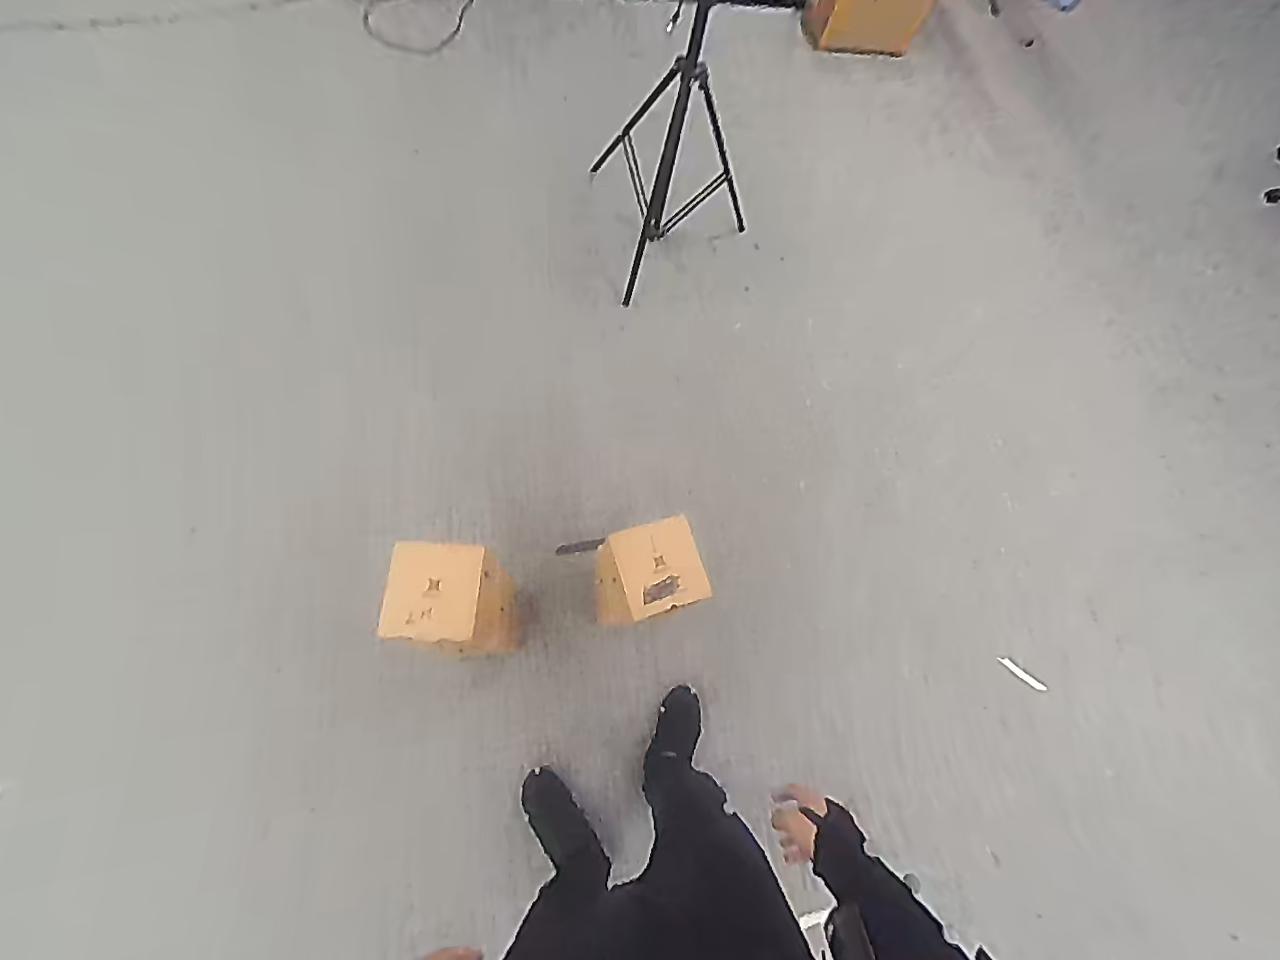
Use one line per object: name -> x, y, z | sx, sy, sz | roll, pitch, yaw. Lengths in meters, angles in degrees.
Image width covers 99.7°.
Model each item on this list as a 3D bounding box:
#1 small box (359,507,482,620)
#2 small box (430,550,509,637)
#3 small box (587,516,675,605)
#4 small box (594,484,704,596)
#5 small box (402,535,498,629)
small box -> -0.400, 0.163, 1.021 | 0.168, 0.176, 0.179 | 5, 71, -6
small box -> -0.415, 0.281, 1.326 | 0.168, 0.176, 0.179 | -4, 71, -9
small box -> -0.028, 0.179, 1.246 | 0.168, 0.176, 0.179 | -7, 71, -11
small box -> 0.010, 0.129, 1.092 | 0.168, 0.176, 0.179 | -14, 74, -14
small box -> -0.404, 0.225, 1.174 | 0.168, 0.176, 0.179 | -1, 71, -8
